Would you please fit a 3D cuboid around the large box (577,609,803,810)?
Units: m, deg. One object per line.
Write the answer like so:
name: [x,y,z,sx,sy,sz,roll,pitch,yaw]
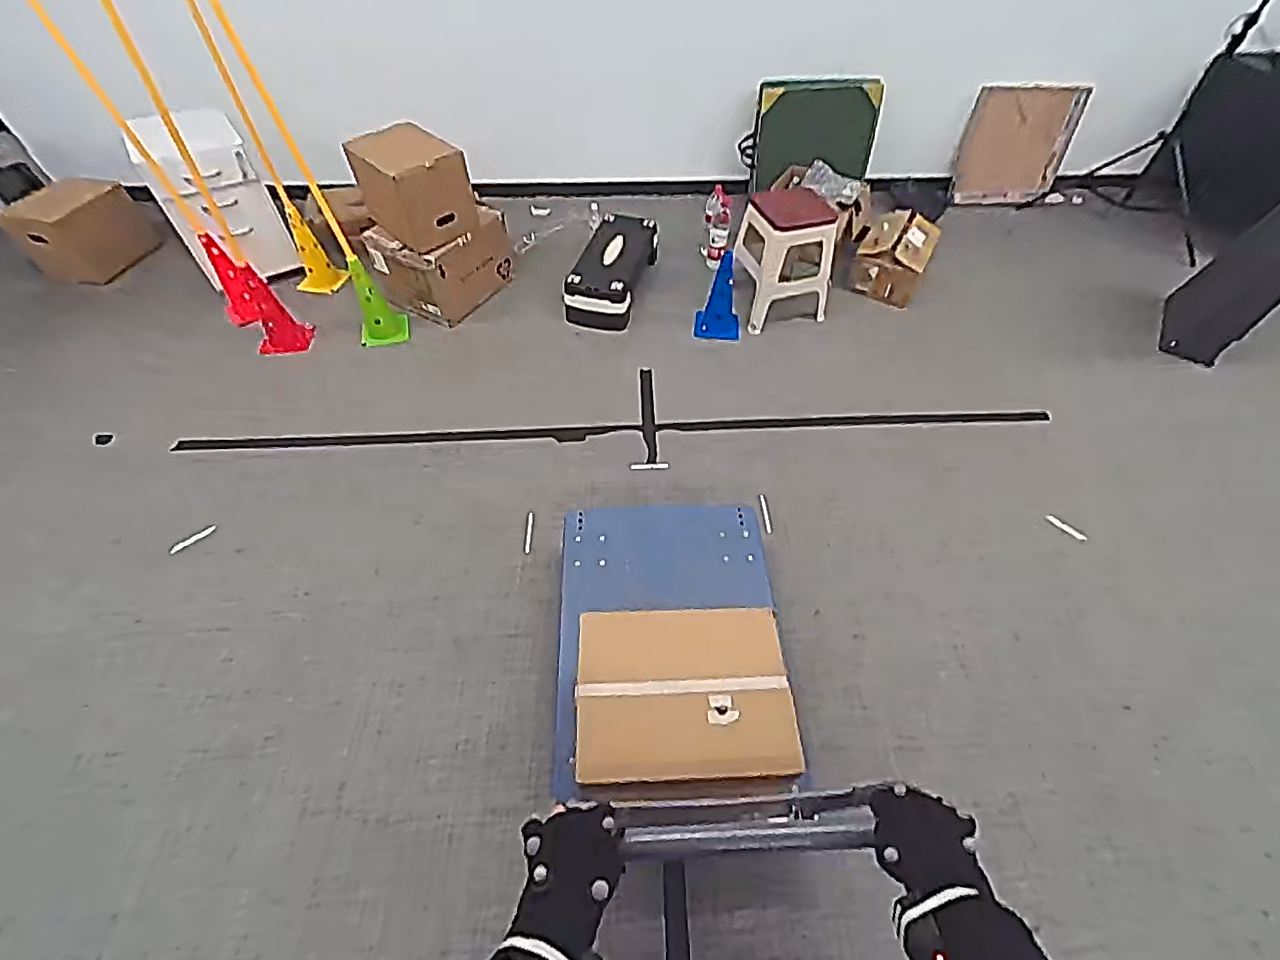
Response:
large box: [0.075,0.487,1.141,0.408,0.320,0.320,-1,53,-3]
